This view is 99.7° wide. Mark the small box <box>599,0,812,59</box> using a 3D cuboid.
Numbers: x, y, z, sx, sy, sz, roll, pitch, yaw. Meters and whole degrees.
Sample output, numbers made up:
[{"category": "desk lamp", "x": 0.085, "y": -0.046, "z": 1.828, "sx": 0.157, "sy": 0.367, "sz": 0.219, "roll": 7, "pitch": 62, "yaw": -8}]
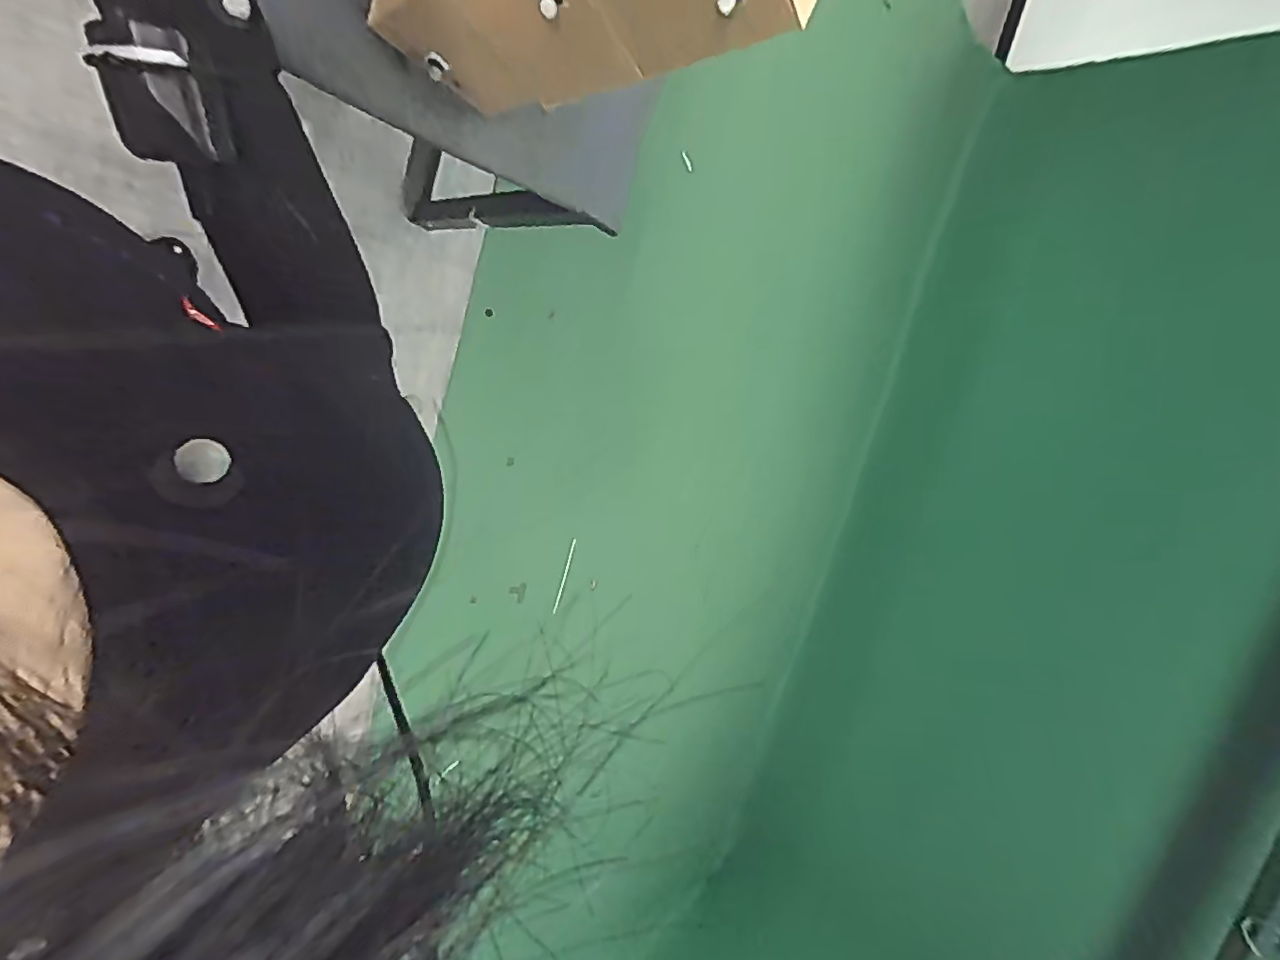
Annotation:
[{"category": "small box", "x": 0.047, "y": -0.459, "z": 0.399, "sx": 0.179, "sy": 0.176, "sz": 0.168, "roll": 29, "pitch": 84, "yaw": -47}]

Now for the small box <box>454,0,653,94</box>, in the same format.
[{"category": "small box", "x": -0.070, "y": -0.504, "z": 0.506, "sx": 0.179, "sy": 0.176, "sz": 0.168, "roll": 27, "pitch": 86, "yaw": -48}]

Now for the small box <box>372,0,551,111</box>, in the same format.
[{"category": "small box", "x": -0.179, "y": -0.564, "z": 0.612, "sx": 0.168, "sy": 0.176, "sz": 0.179, "roll": 11, "pitch": 99, "yaw": -47}]
